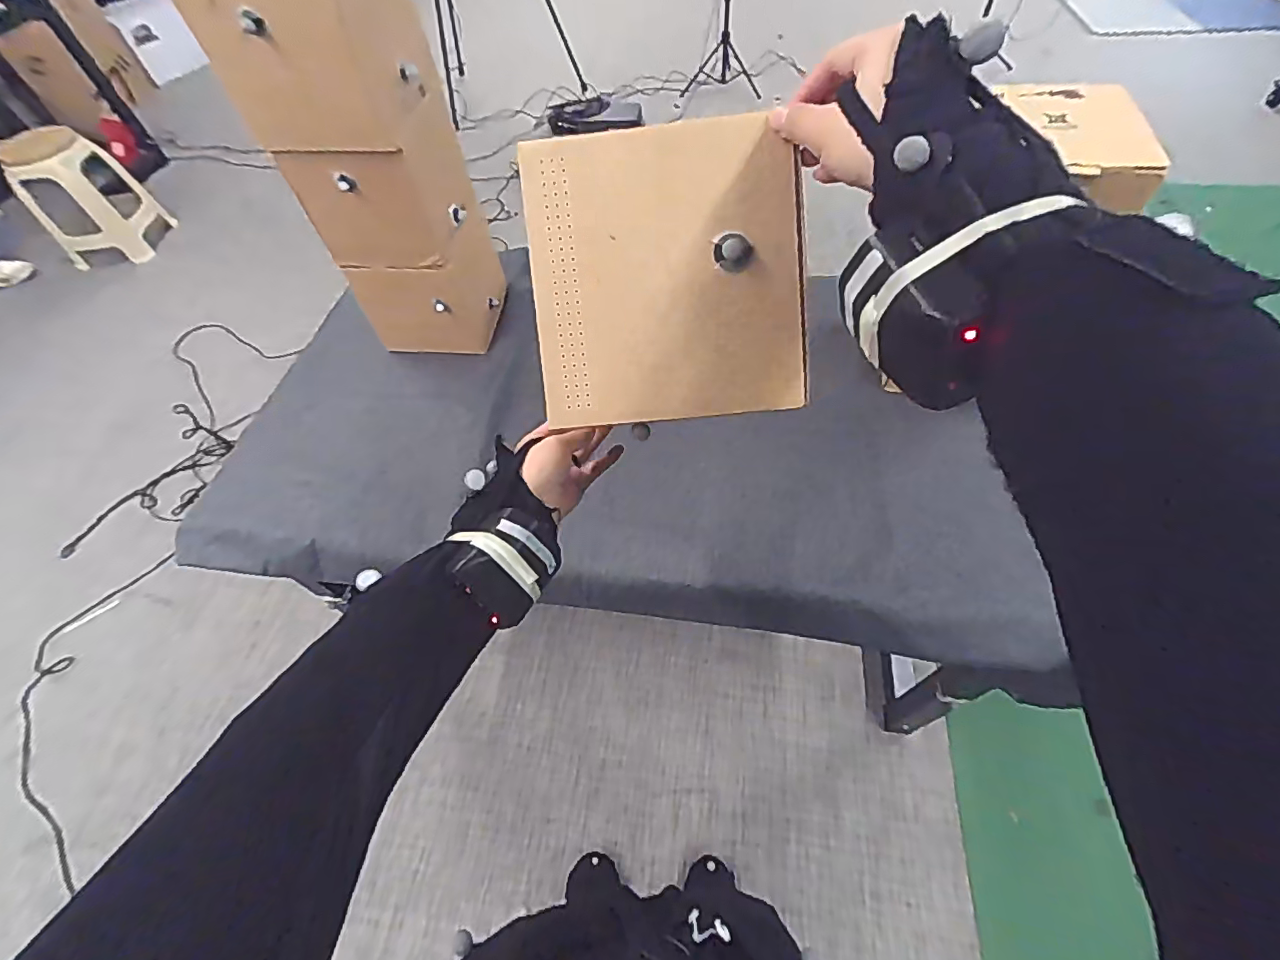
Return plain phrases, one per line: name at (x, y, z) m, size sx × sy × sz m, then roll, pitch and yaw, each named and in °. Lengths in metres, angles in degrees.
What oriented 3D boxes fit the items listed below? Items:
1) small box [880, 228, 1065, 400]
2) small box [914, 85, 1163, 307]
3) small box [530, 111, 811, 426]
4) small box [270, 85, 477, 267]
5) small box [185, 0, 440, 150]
small box at (0.451, -0.240, 0.769) m, size 0.168 × 0.176 × 0.179 m, roll 7°, pitch 59°, yaw 10°
small box at (0.435, -0.325, 0.630) m, size 0.168 × 0.176 × 0.179 m, roll 8°, pitch 59°, yaw 9°
small box at (0.020, -0.137, 0.408) m, size 0.176 × 0.168 × 0.179 m, roll -3°, pitch 98°, yaw 4°
small box at (-0.351, -0.418, 0.753) m, size 0.179 × 0.176 × 0.168 m, roll 3°, pitch 59°, yaw 5°
small box at (-0.358, -0.499, 0.610) m, size 0.179 × 0.176 × 0.168 m, roll 5°, pitch 59°, yaw 6°
